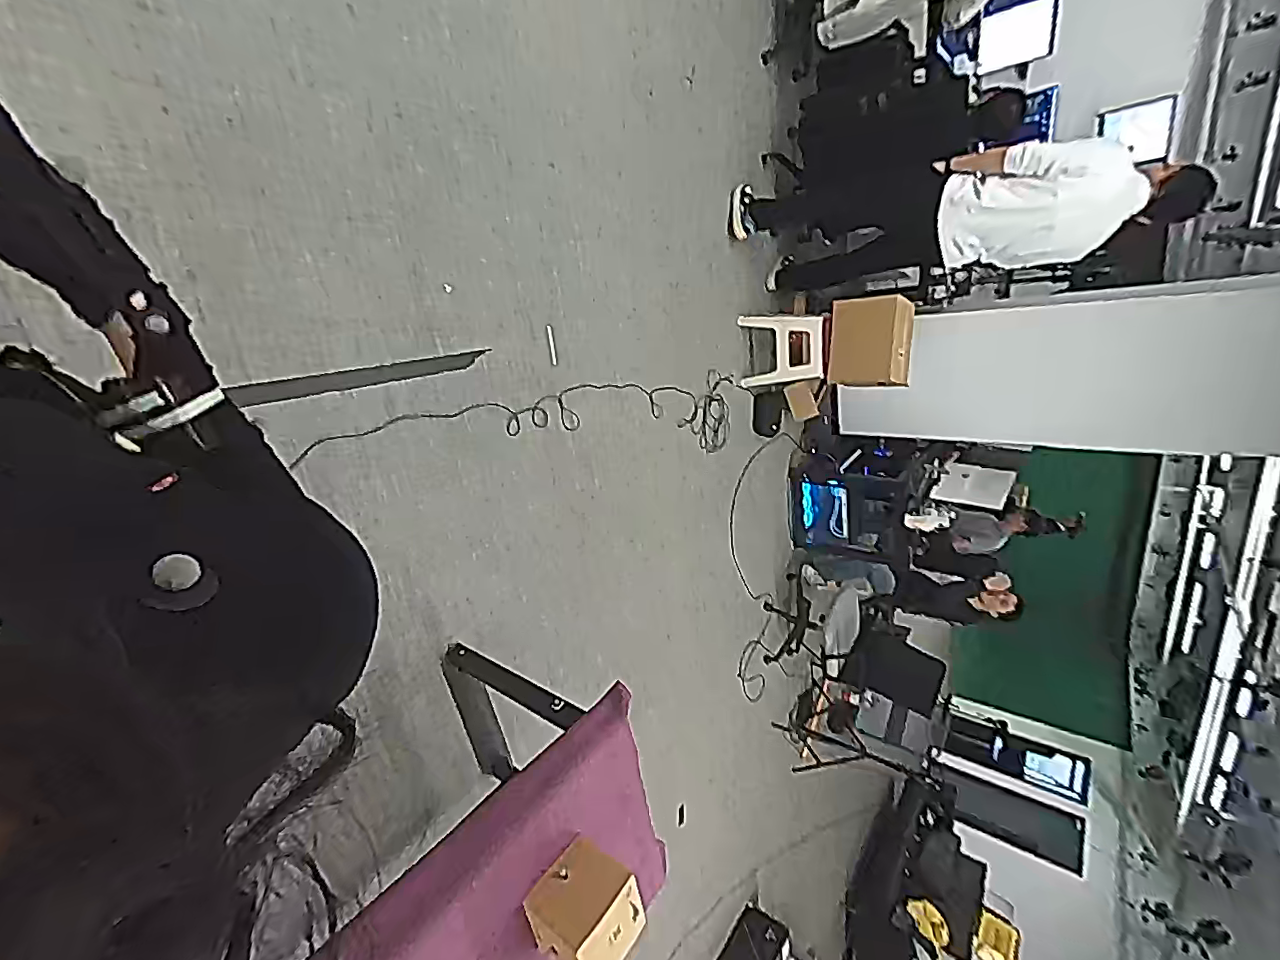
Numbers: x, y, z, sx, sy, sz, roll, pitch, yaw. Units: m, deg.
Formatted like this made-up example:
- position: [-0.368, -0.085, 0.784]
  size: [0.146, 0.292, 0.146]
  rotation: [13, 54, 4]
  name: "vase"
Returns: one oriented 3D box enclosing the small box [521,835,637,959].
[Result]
- position: [-0.134, 0.918, 1.153]
  size: [0.179, 0.176, 0.168]
  rotation: [-31, 119, -44]
  name: "small box"
